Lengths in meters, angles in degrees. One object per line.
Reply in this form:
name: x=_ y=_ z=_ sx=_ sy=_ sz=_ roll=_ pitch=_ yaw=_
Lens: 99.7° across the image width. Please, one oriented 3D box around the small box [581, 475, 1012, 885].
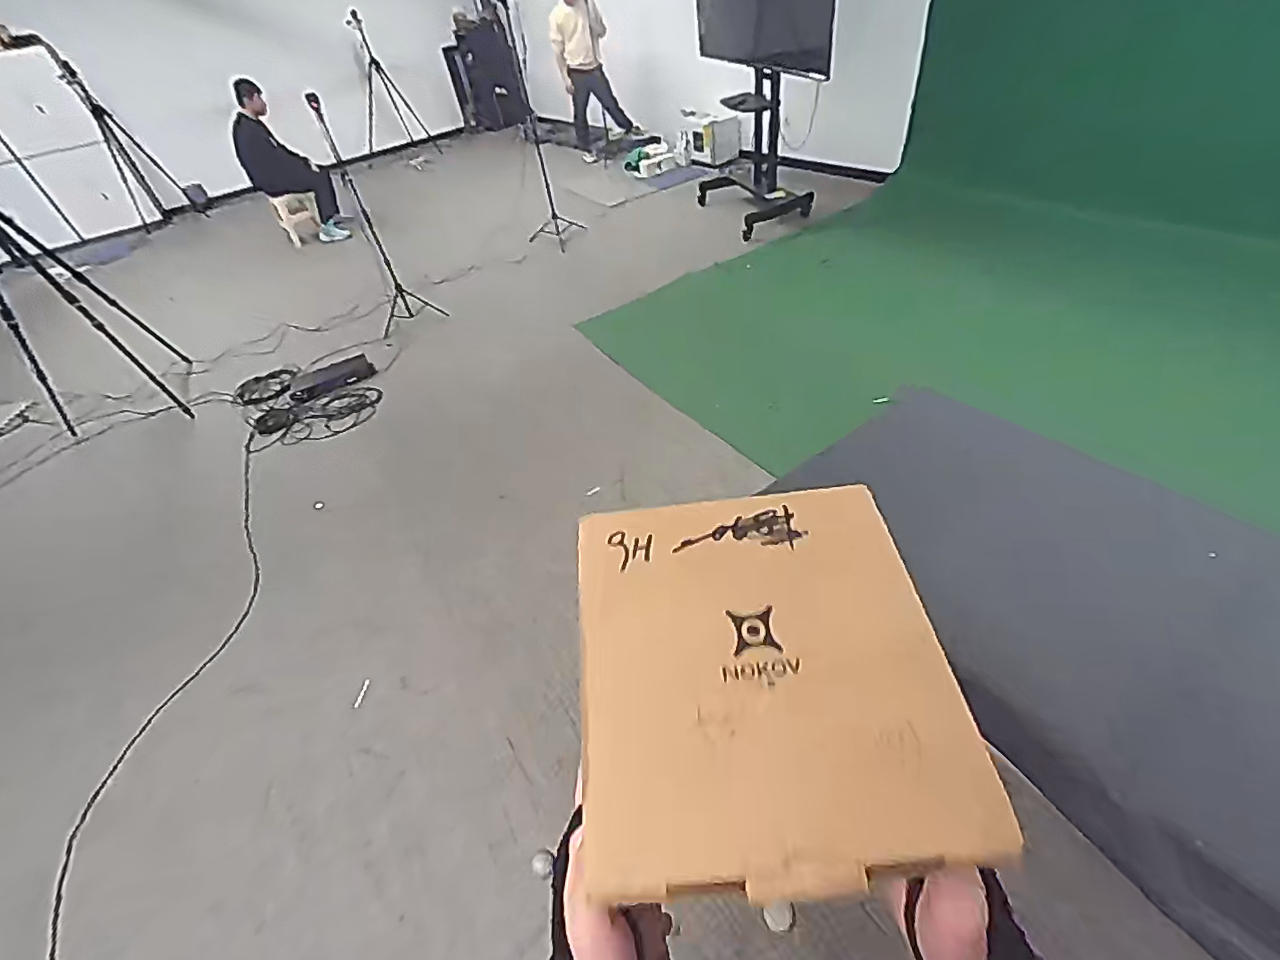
small box: x=0.057 y=0.120 z=0.315 sx=0.168 sy=0.176 sz=0.179 roll=-4 pitch=52 yaw=-2
